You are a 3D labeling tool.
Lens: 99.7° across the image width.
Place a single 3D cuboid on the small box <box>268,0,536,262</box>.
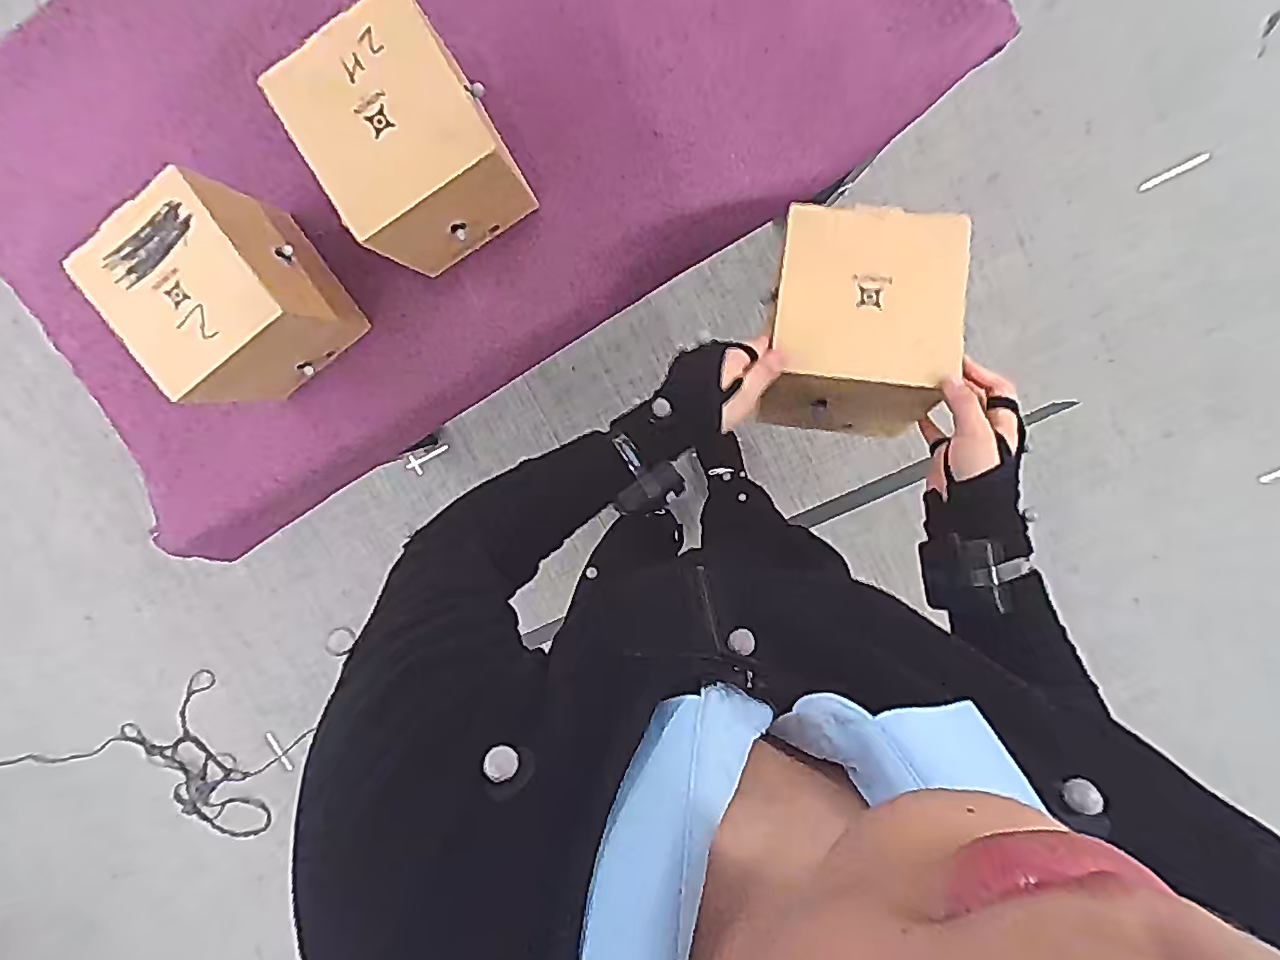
[{"bbox_3d":[-0.237,-0.361,0.589,0.168,0.176,0.179,-29,96,7],"label":"small box"}]
